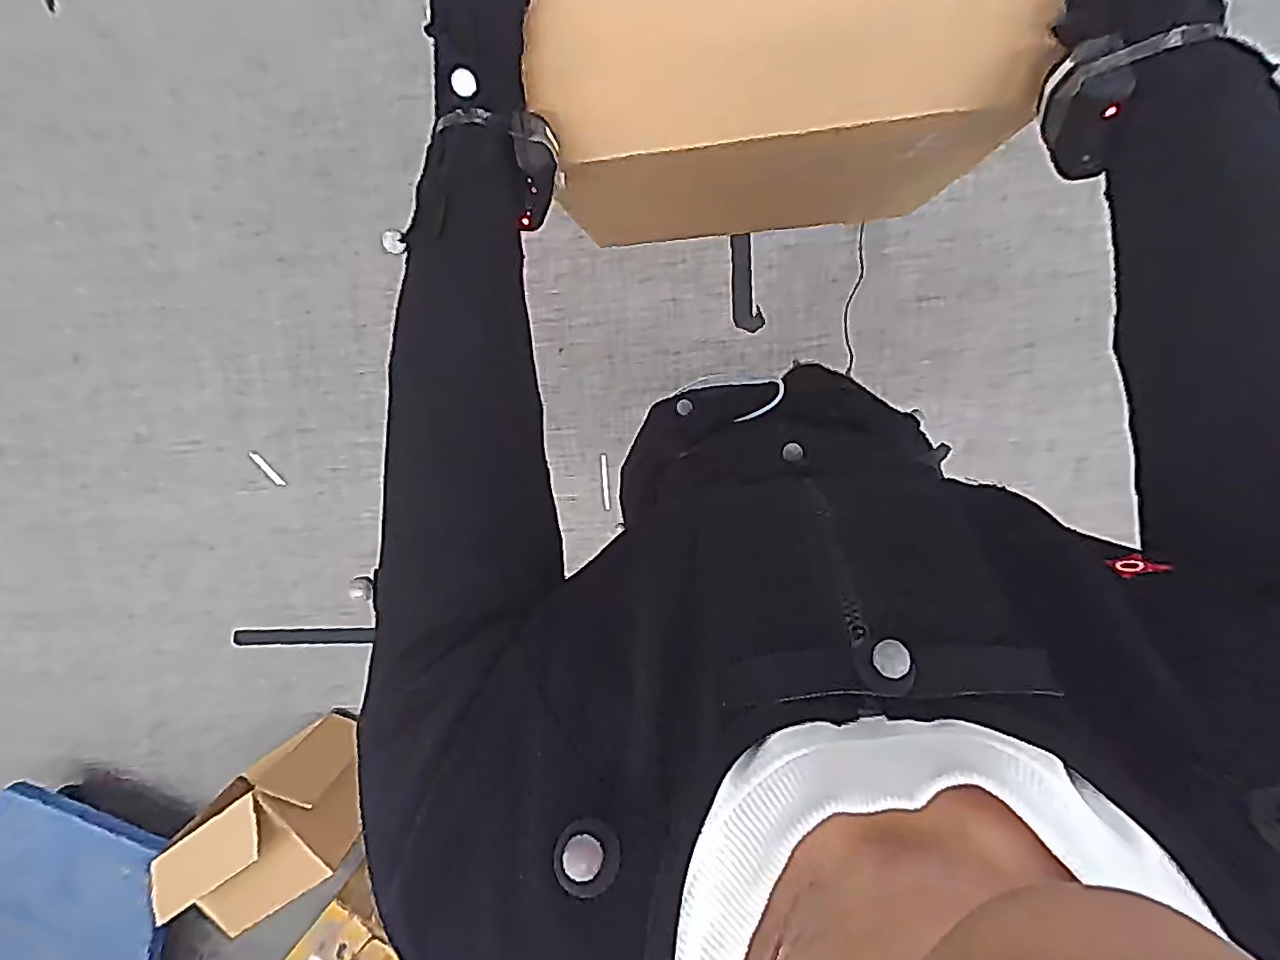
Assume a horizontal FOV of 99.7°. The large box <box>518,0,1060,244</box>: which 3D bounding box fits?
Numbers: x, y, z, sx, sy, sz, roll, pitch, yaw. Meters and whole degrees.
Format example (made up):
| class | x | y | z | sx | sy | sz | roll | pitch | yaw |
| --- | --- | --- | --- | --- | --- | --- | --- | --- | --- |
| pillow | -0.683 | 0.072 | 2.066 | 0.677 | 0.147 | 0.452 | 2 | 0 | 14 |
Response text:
| class | x | y | z | sx | sy | sz | roll | pitch | yaw |
| --- | --- | --- | --- | --- | --- | --- | --- | --- | --- |
| large box | 0.110 | -0.452 | 0.537 | 0.408 | 0.320 | 0.320 | -4 | 102 | 7 |
